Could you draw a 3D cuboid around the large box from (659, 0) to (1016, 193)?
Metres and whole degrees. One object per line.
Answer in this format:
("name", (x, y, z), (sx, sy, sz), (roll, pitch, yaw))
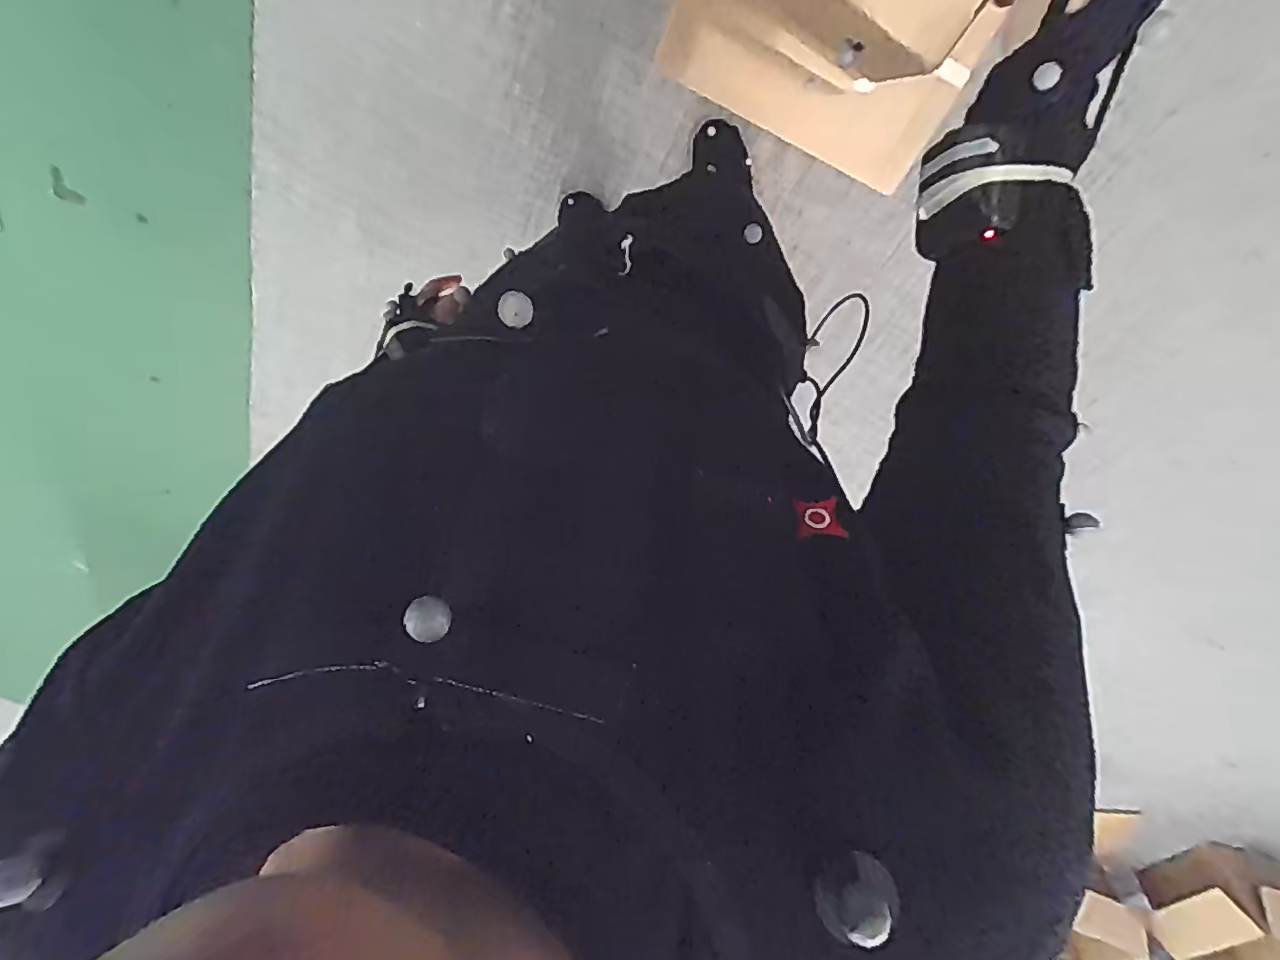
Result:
("large box", (0.279, -0.702, 0.830), (0.408, 0.320, 0.320), (23, 126, -7))

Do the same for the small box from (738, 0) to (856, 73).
("small box", (0.194, -0.499, 0.485), (0.179, 0.176, 0.168), (26, 123, -10))

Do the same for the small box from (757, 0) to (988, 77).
("small box", (0.163, -0.403, 0.357), (0.179, 0.176, 0.168), (27, 122, -10))
